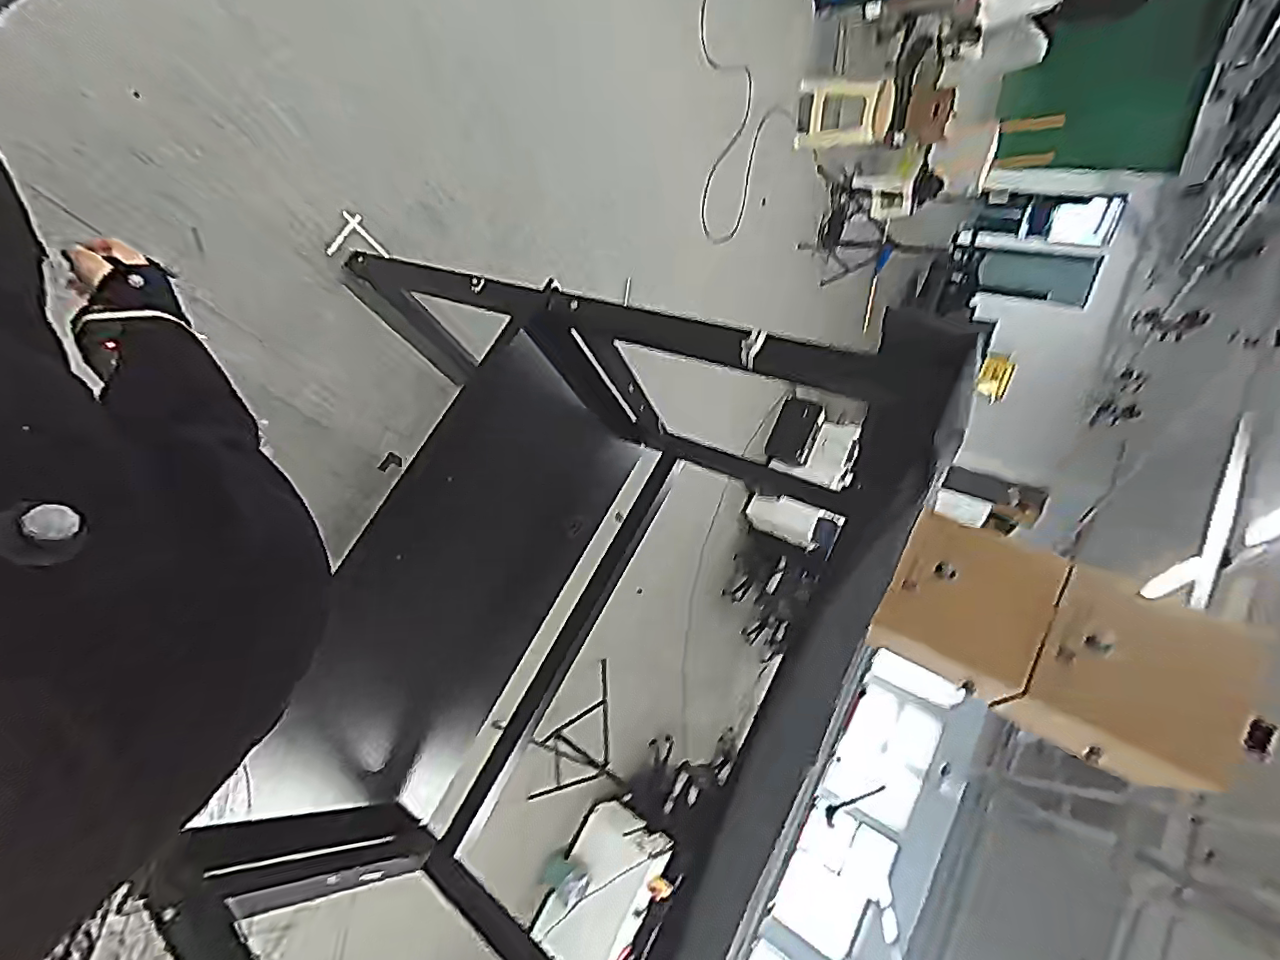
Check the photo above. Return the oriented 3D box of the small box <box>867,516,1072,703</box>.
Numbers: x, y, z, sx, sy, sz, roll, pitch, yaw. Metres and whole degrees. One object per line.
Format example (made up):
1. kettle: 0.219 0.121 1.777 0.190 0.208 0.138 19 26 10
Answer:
1. small box: 0.411 0.168 0.707 0.168 0.176 0.179 -59 151 -12
